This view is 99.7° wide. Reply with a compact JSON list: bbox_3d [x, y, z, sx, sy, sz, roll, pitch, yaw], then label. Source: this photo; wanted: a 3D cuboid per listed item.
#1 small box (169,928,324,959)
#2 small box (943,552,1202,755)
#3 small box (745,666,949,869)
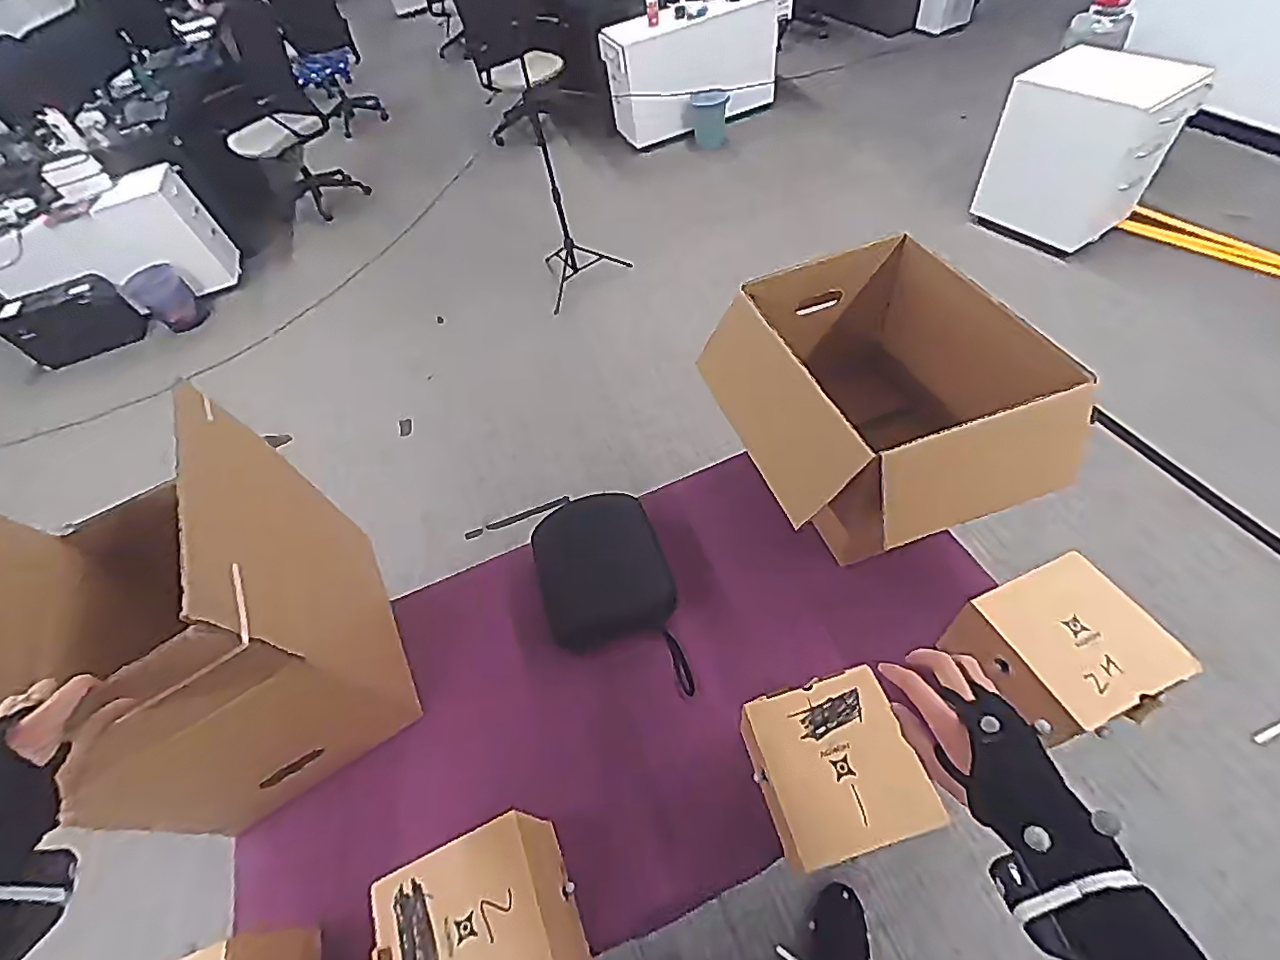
[{"bbox_3d":[-0.493,0.640,0.608,0.179,0.176,0.168,-20,53,-6],"label":"small box"},{"bbox_3d":[0.542,0.232,0.714,0.168,0.176,0.179,-23,53,-5],"label":"small box"},{"bbox_3d":[0.237,0.363,0.676,0.168,0.176,0.179,-17,54,-2],"label":"small box"}]
